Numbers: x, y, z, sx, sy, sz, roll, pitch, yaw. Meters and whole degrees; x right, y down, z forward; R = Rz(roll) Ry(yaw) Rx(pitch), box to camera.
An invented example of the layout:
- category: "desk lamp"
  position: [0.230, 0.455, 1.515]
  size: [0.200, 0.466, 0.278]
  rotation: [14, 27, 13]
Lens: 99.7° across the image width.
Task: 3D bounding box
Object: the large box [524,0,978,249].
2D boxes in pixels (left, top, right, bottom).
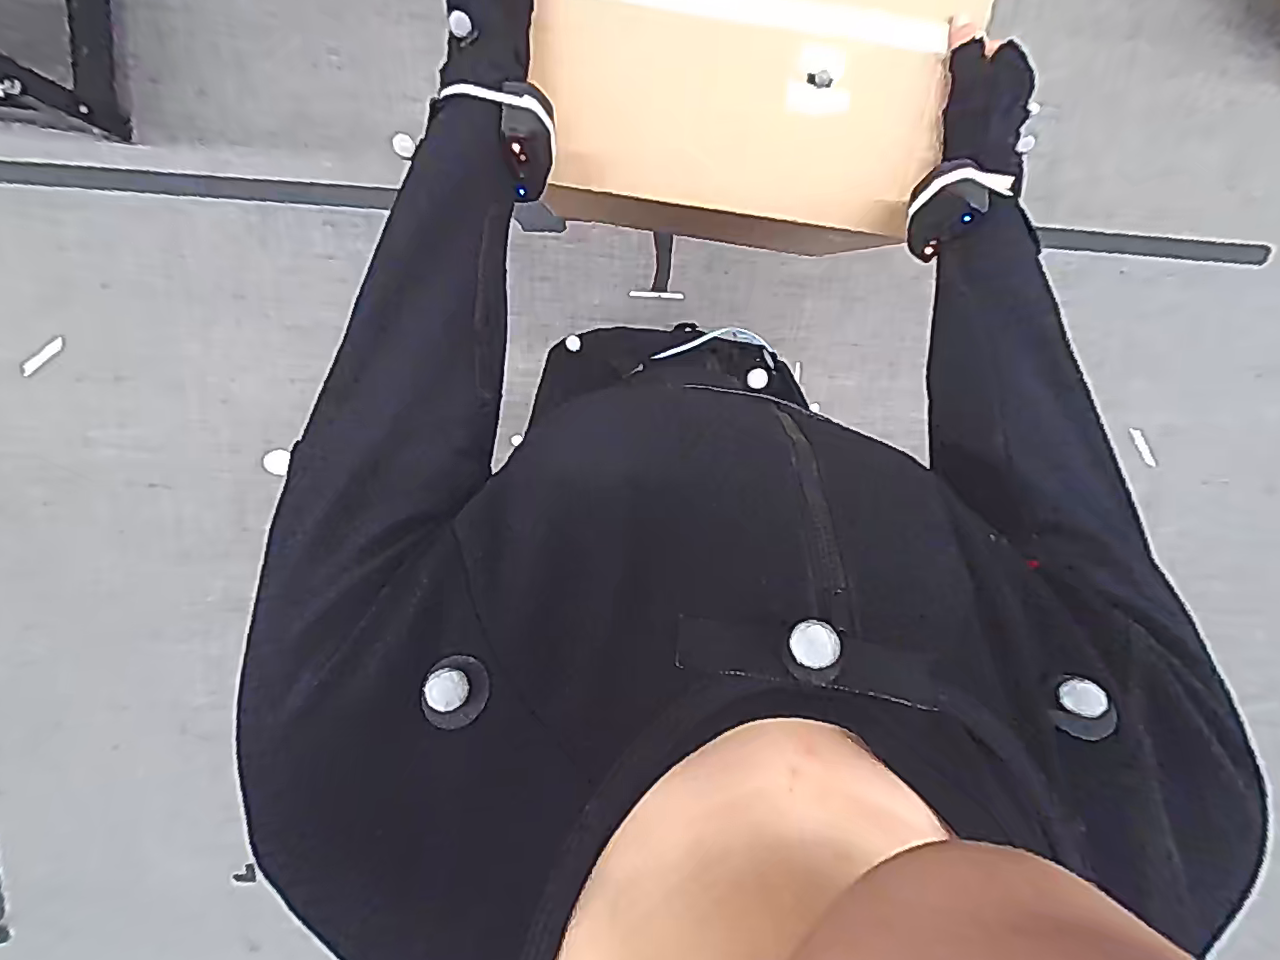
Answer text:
- category: "large box"
  position: [0.093, -0.462, 0.624]
  size: [0.408, 0.320, 0.320]
  rotation: [6, 111, -4]
